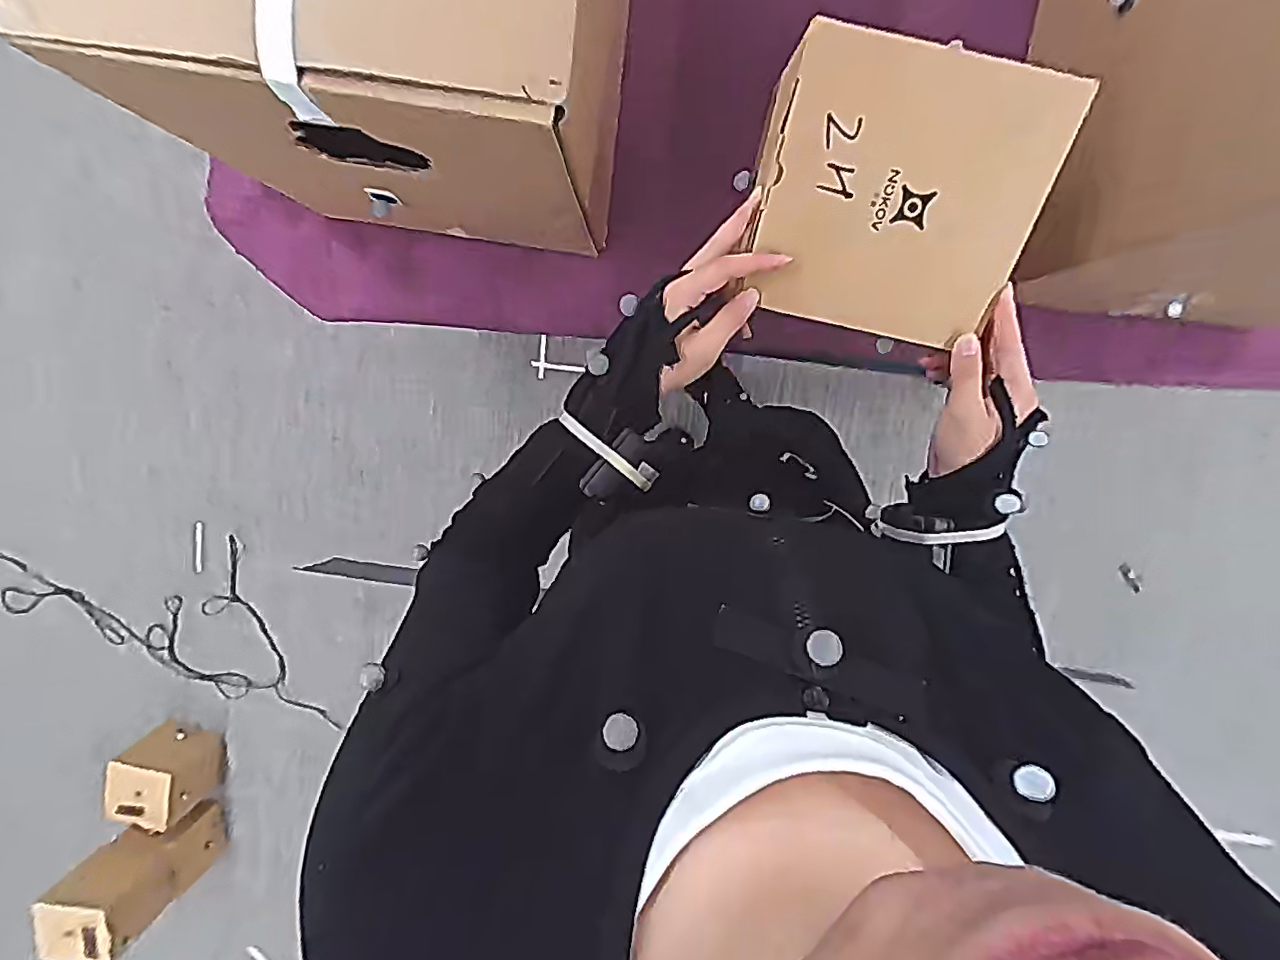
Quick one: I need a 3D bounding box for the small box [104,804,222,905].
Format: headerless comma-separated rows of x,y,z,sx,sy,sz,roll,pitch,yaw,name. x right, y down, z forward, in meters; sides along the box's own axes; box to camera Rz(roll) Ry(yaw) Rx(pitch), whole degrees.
-1.314,1.028,1.499,0.179,0.176,0.168,1,100,1,small box

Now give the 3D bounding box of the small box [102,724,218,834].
-1.284,0.800,1.457,0.168,0.176,0.179,13,99,0,small box

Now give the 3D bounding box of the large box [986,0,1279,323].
0.528,-0.353,0.403,0.320,0.320,0.408,7,98,0,large box
